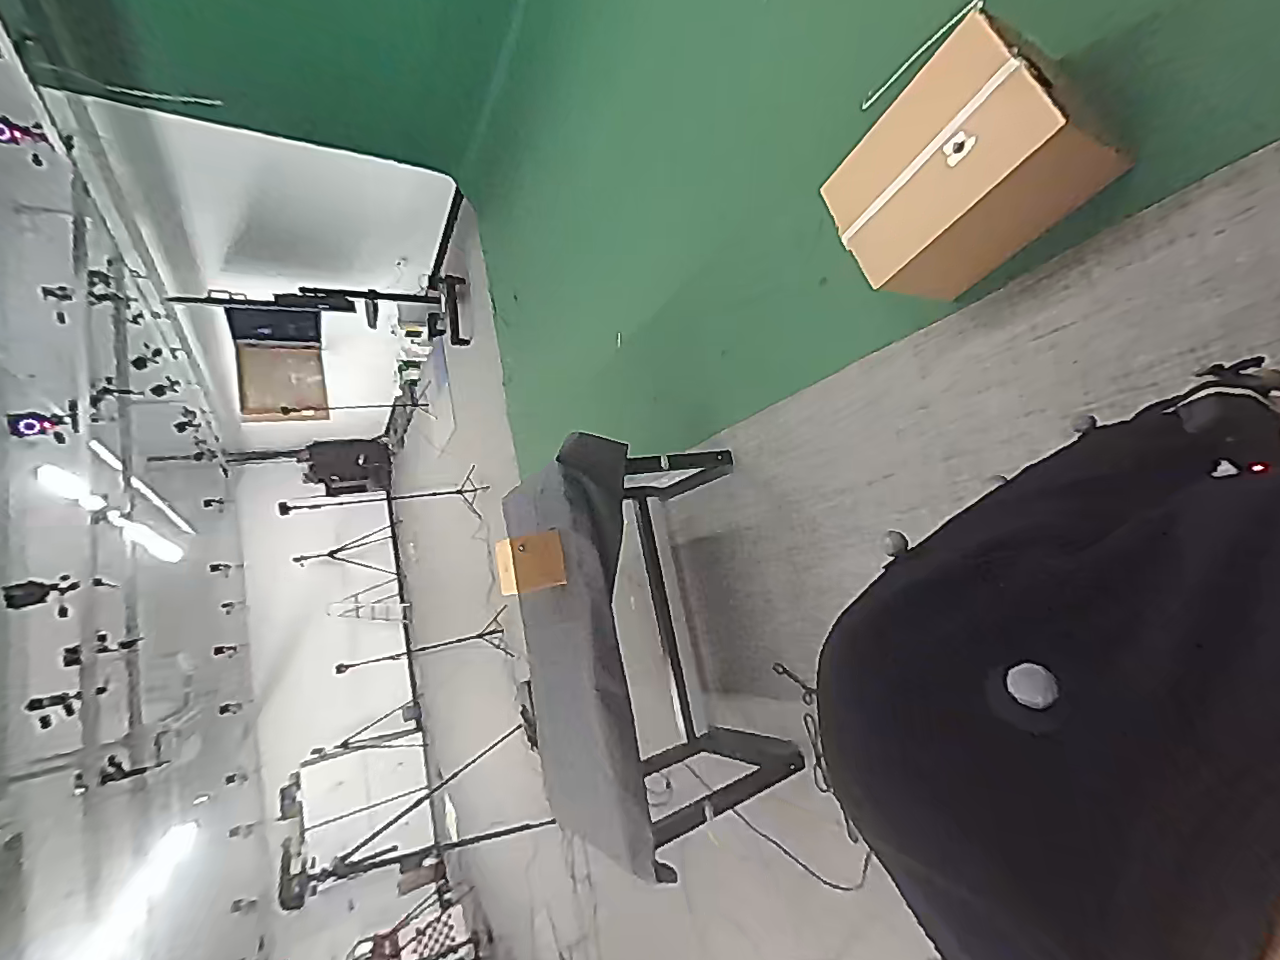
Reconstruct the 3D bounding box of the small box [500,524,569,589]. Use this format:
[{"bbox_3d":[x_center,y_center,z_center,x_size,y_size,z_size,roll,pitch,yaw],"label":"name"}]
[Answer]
[{"bbox_3d":[-0.339,0.247,1.749,0.168,0.176,0.179,-23,76,58],"label":"small box"}]
